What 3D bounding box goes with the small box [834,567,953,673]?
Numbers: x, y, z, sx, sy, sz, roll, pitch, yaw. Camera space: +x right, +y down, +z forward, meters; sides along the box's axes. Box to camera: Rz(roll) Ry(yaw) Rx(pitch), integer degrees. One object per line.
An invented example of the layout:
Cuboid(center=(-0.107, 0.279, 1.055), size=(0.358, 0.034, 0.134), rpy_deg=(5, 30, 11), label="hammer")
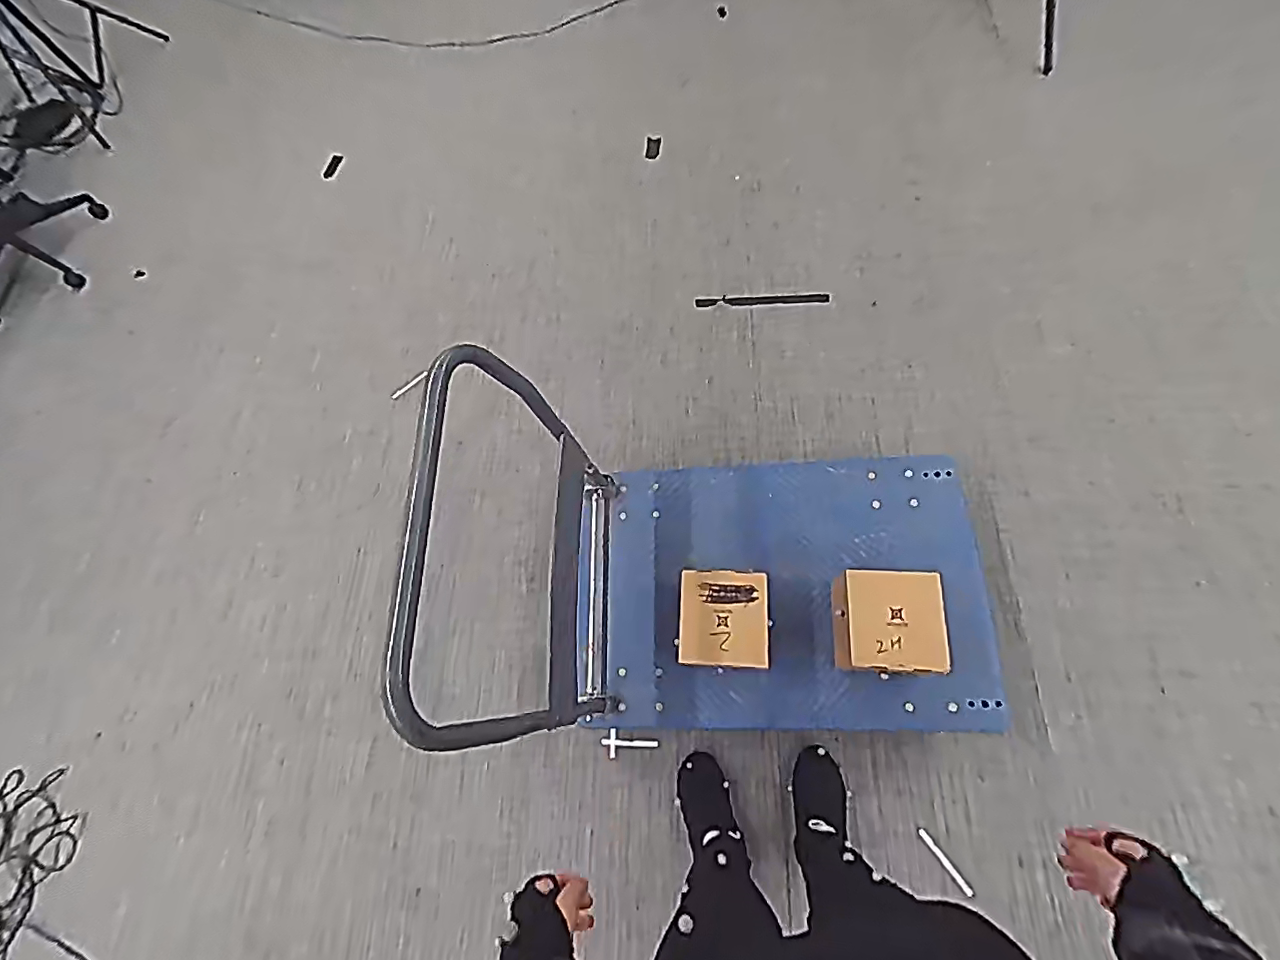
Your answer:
Cuboid(center=(0.479, 0.274, 1.049), size=(0.168, 0.176, 0.179), rpy_deg=(1, 70, 10), label="small box")
